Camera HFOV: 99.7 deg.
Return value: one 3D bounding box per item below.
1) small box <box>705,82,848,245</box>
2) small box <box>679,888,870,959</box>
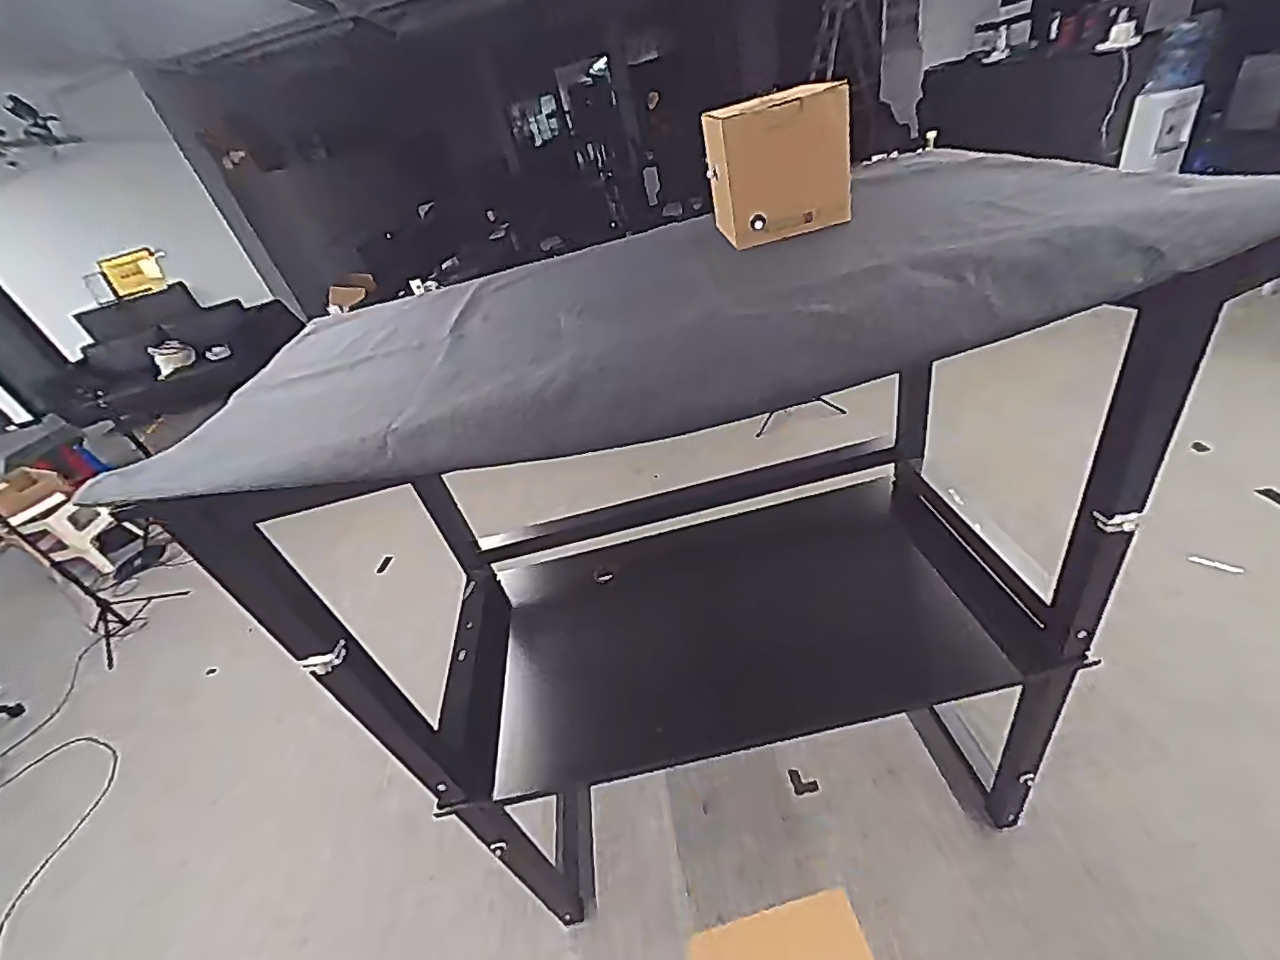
[{"bbox_3d":[0.200,-0.464,0.800,0.168,0.176,0.179,-12,35,5],"label":"small box"},{"bbox_3d":[0.155,0.546,0.528,0.179,0.176,0.168,-19,34,0],"label":"small box"}]
